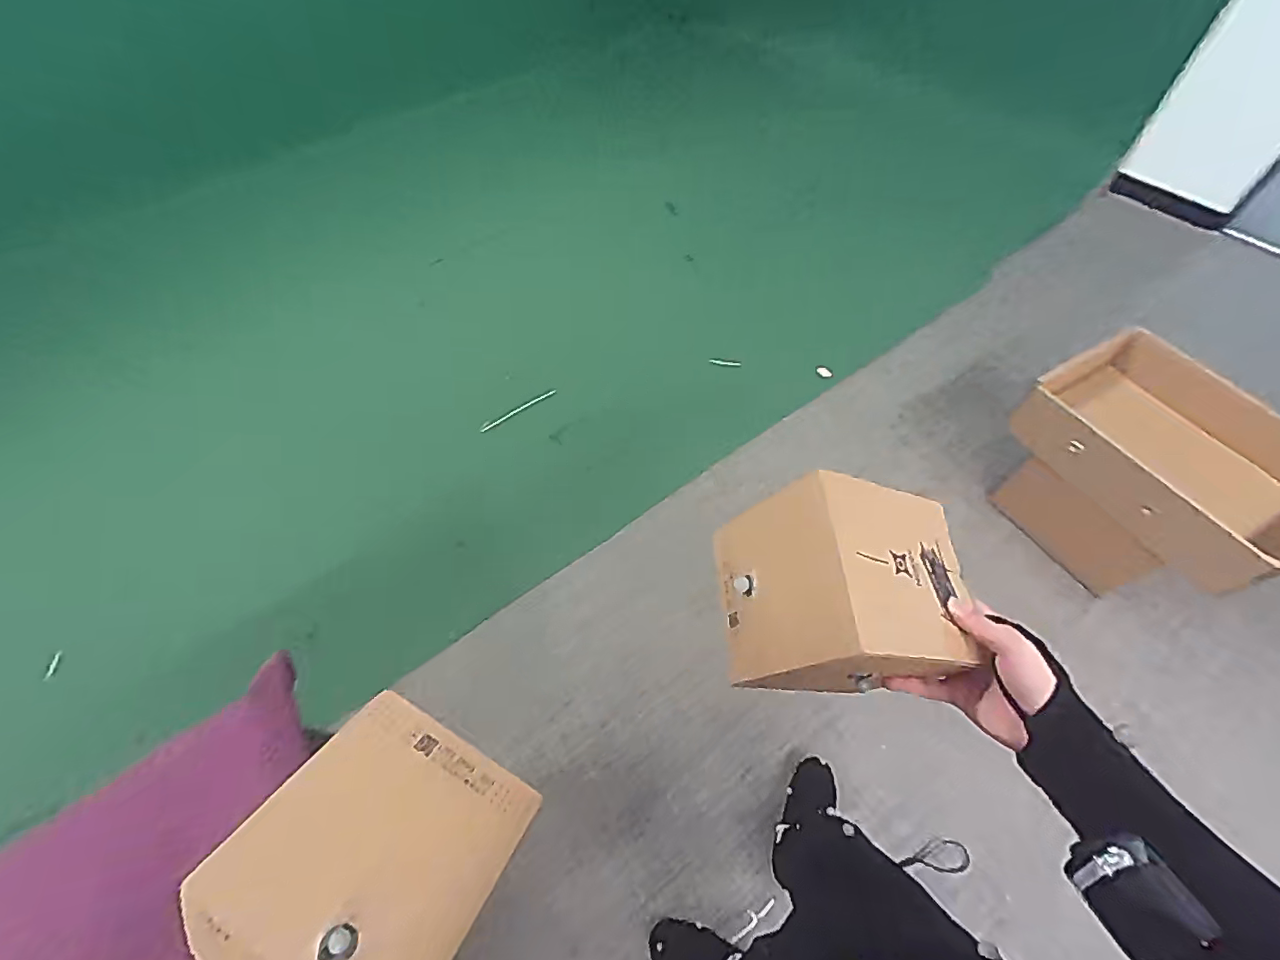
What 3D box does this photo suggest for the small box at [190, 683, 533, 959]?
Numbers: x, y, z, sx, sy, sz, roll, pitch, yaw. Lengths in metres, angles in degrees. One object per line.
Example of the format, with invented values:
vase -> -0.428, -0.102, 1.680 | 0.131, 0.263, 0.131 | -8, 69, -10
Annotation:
small box -> -0.210, 0.308, 0.436 | 0.168, 0.179, 0.176 | 31, 33, 8

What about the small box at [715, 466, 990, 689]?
small box -> 0.198, 0.110, 0.546 | 0.179, 0.176, 0.168 | 13, 57, -25
